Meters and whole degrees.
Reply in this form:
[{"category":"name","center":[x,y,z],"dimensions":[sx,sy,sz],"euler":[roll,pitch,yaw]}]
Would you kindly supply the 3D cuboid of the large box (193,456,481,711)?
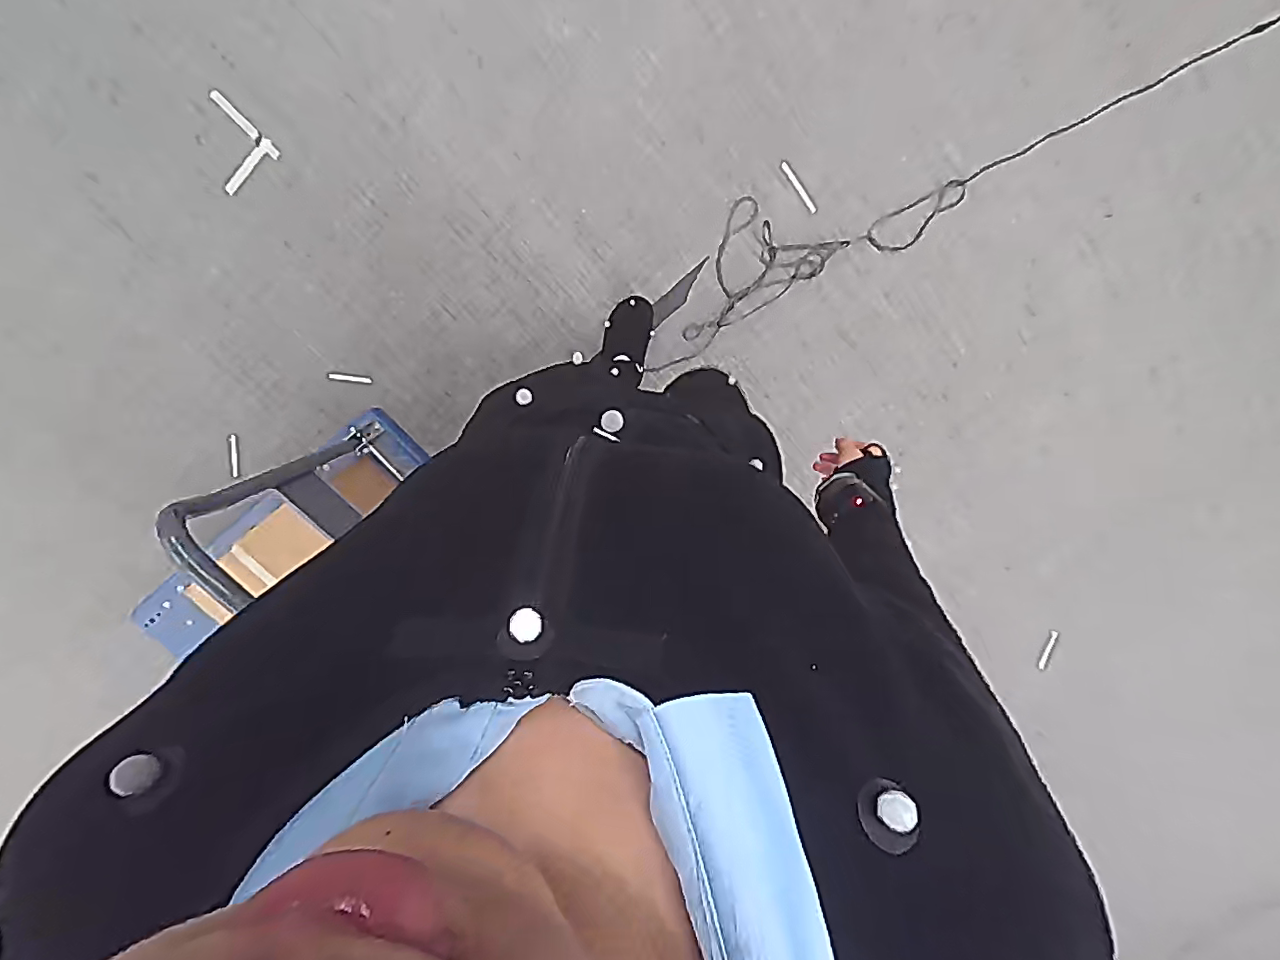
[{"category":"large box","center":[-0.638,0.217,1.222],"dimensions":[0.320,0.320,0.408],"euler":[-37,104,8]}]
